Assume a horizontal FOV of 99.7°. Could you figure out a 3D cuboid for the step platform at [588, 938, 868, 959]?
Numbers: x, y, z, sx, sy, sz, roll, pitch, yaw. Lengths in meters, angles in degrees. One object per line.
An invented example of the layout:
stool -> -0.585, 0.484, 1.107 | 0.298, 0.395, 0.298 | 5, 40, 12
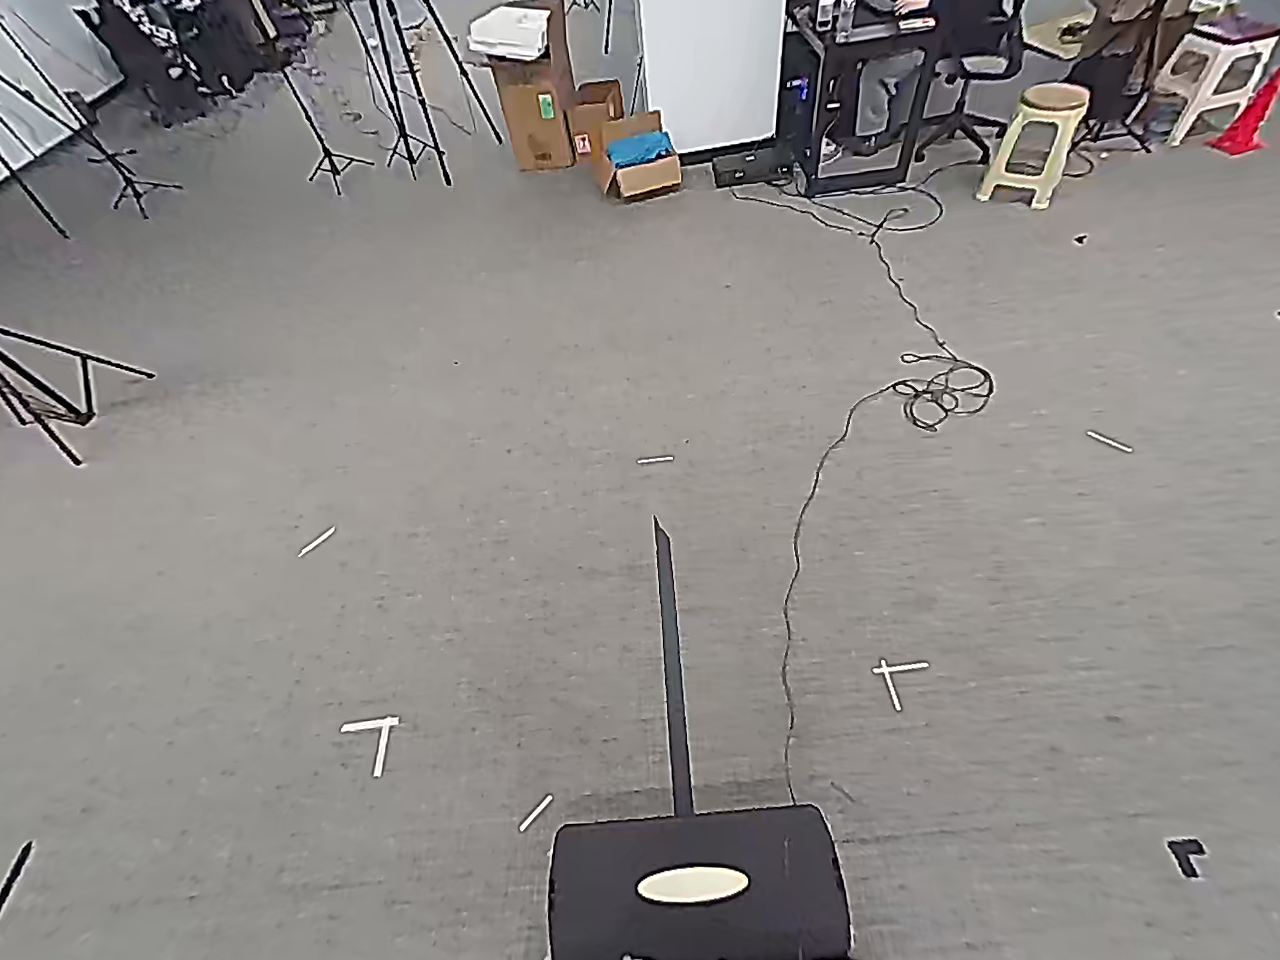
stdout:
step platform -> 0.145, 1.110, 1.056 | 0.684, 0.204, 0.286 | -8, 51, 4
